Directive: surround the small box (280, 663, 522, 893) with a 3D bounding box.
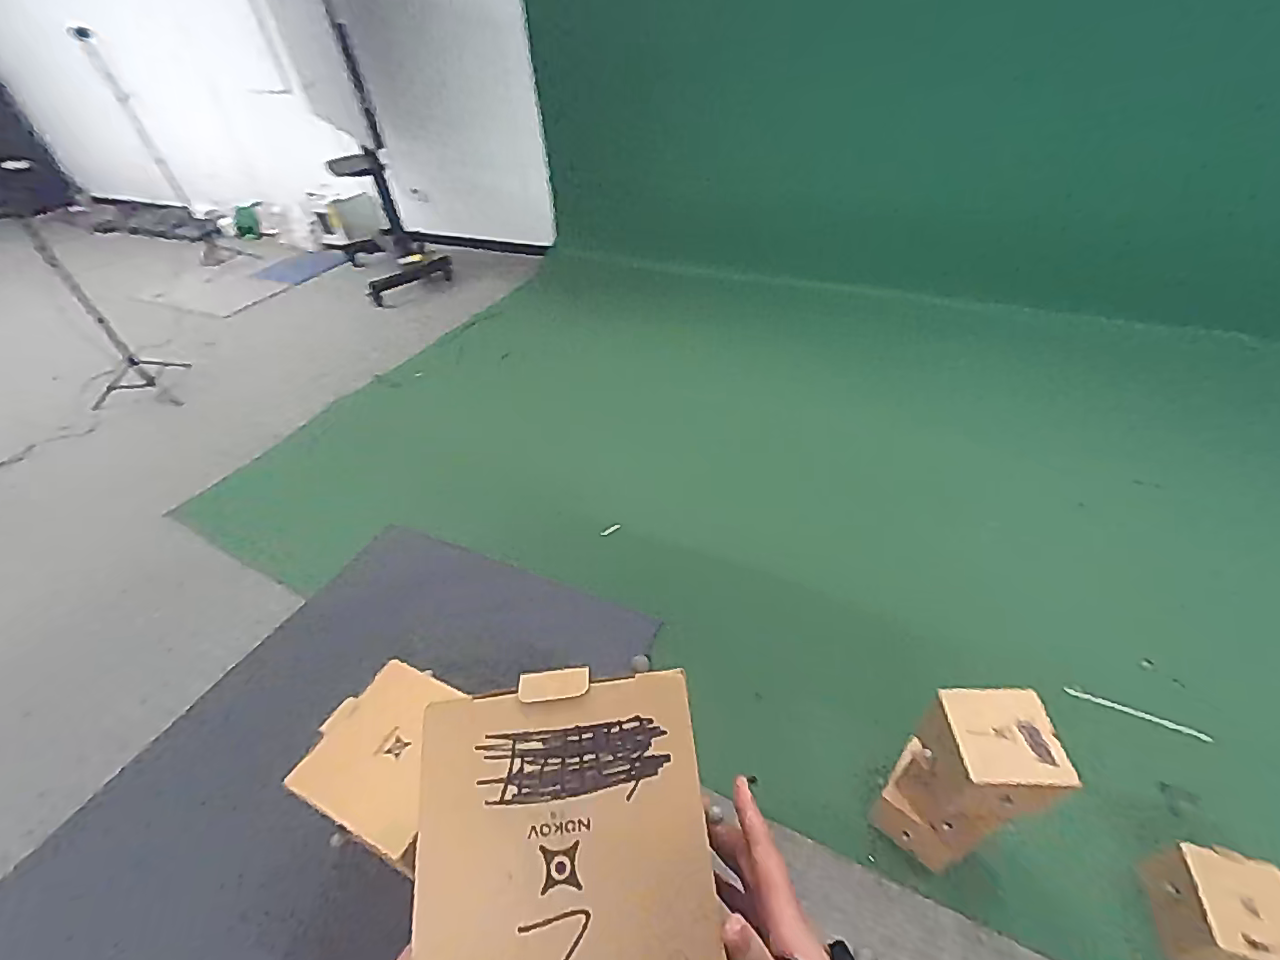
[{"bbox_3d":[-0.267,0.358,0.650,0.179,0.176,0.168,14,46,22],"label":"small box"}]

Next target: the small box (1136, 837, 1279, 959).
[{"bbox_3d":[1.141,0.851,1.068,0.168,0.176,0.179,9,43,14],"label":"small box"}]

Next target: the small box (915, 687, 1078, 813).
[{"bbox_3d":[0.646,0.503,1.007,0.179,0.176,0.168,-1,44,5],"label":"small box"}]

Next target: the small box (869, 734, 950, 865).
[{"bbox_3d":[0.647,0.734,1.239,0.168,0.176,0.179,30,52,31],"label":"small box"}]

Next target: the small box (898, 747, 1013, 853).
[{"bbox_3d":[0.664,0.627,1.115,0.179,0.176,0.168,-21,46,-18],"label":"small box"}]
